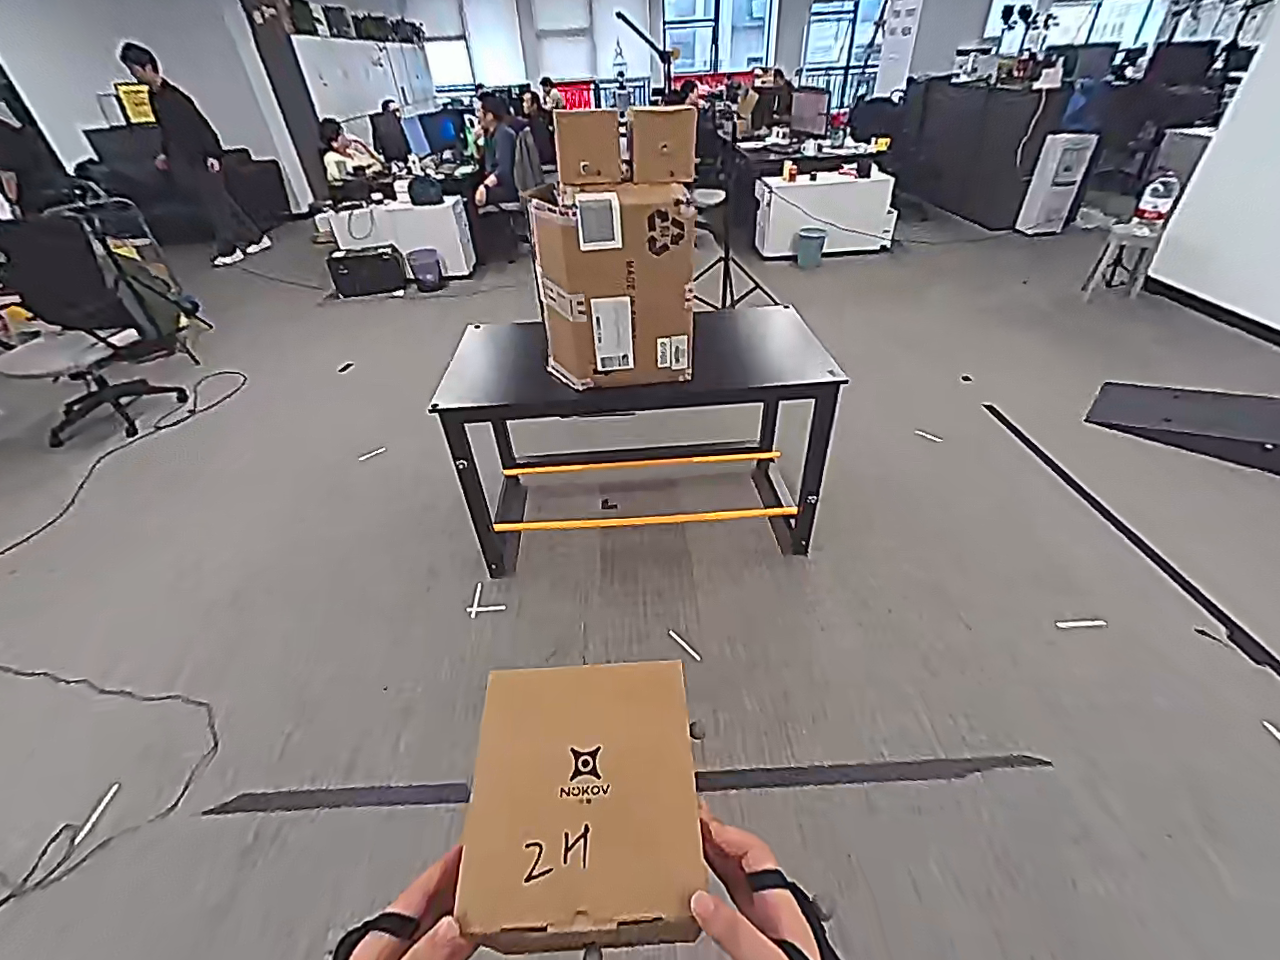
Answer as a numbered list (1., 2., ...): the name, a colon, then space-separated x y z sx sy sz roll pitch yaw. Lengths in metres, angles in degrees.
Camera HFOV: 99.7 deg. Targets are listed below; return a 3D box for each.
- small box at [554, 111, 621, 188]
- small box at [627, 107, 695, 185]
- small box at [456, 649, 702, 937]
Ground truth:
1. small box: -0.145 -0.910 1.487 0.168 0.176 0.179 -8 36 -7
2. small box: 0.054 -0.918 1.488 0.168 0.176 0.179 -3 38 -5
3. small box: -0.042 0.270 0.469 0.168 0.176 0.179 -3 45 -1
